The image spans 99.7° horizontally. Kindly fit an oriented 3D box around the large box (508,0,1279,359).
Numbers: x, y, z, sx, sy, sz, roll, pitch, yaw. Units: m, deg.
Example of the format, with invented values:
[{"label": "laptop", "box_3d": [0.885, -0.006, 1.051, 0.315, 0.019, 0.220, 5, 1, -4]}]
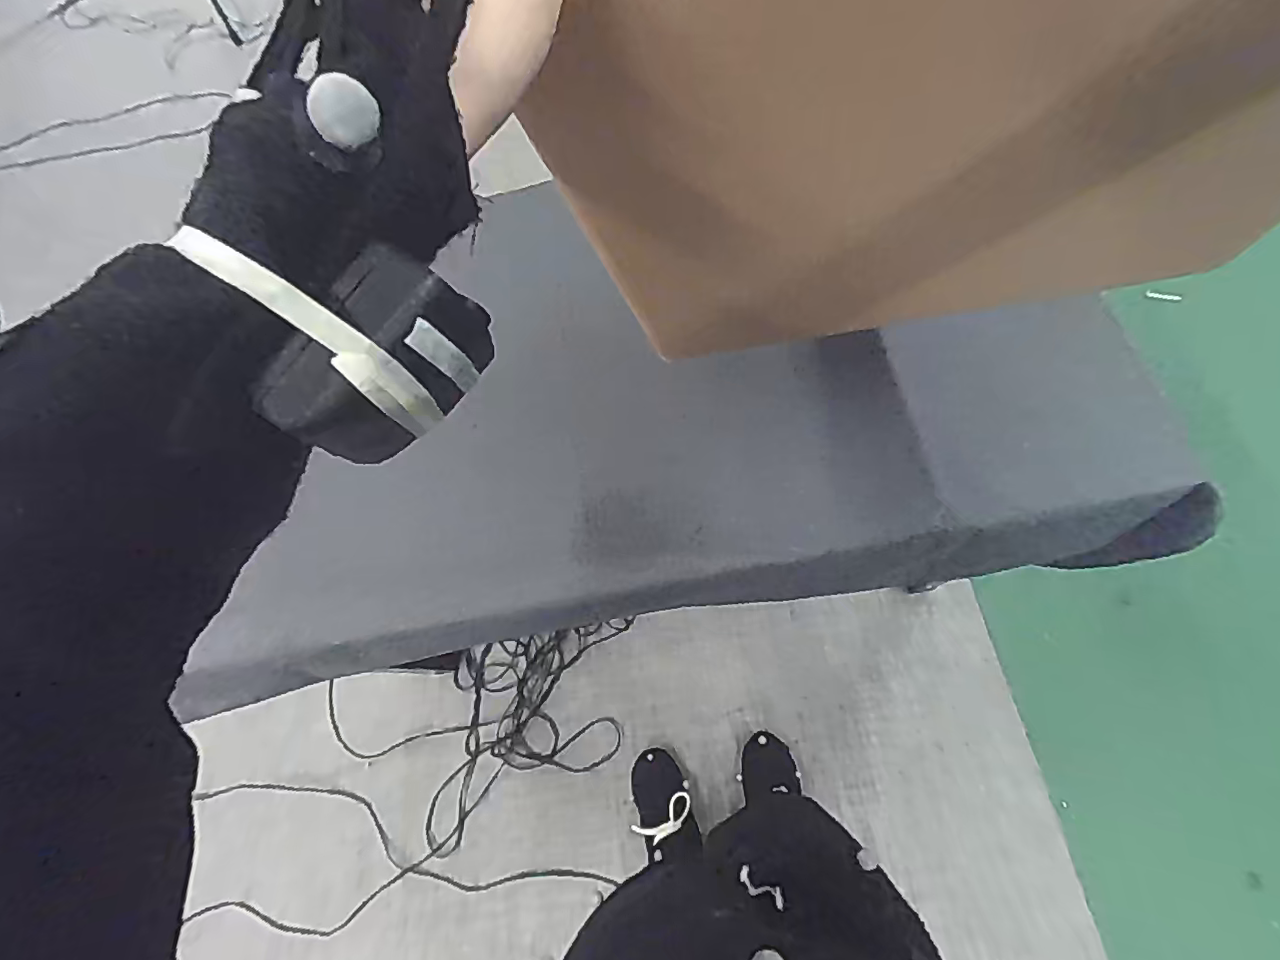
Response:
[{"label": "large box", "box_3d": [0.170, -0.305, 0.330, 0.408, 0.320, 0.320, -6, 77, 14]}]
